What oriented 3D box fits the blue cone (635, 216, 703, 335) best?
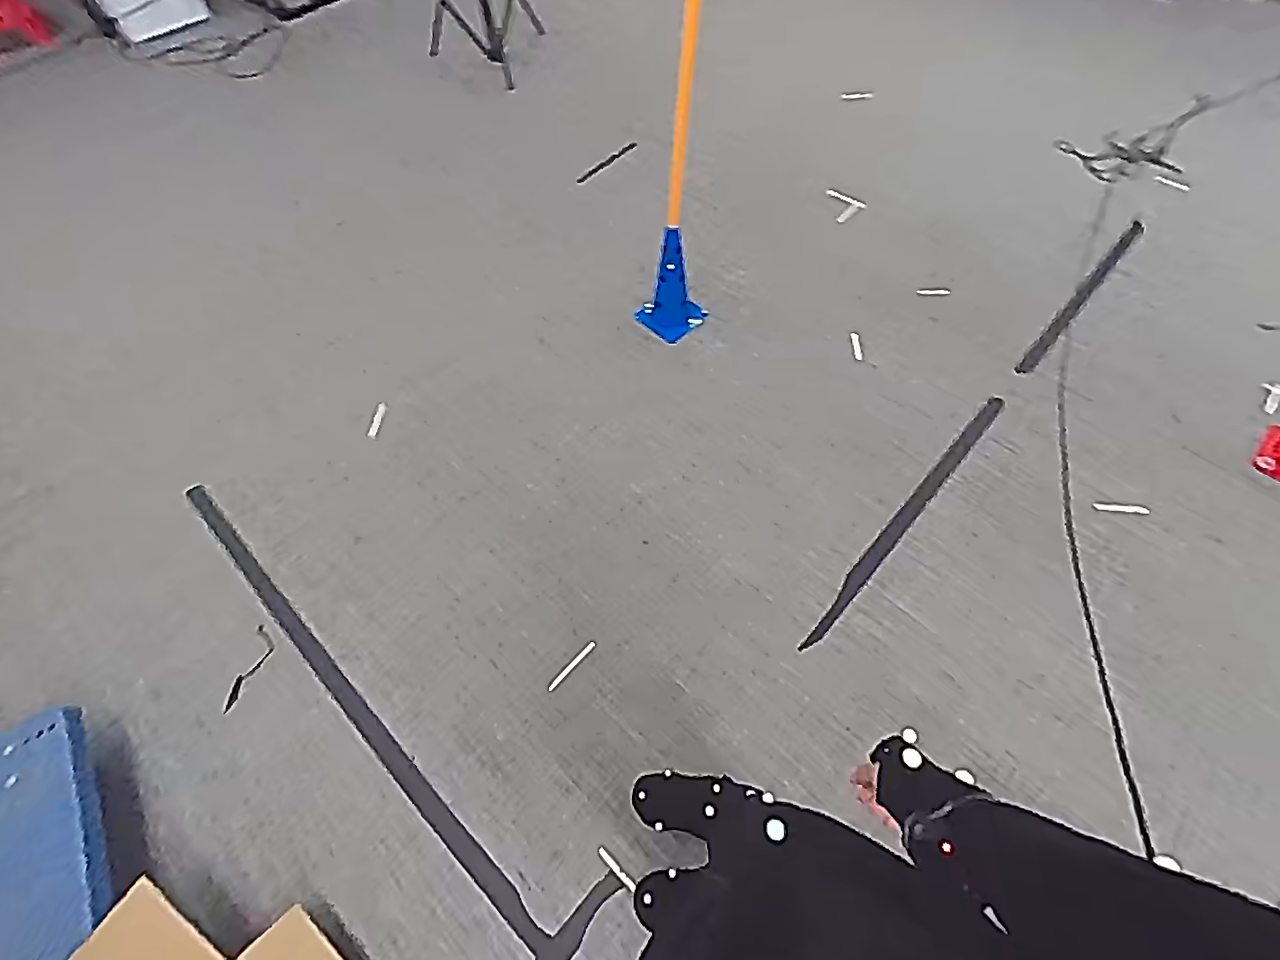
[{"bbox_3d":[0.096,-0.676,1.759,0.192,0.380,0.193,-40,67,-19],"label":"blue cone"}]
